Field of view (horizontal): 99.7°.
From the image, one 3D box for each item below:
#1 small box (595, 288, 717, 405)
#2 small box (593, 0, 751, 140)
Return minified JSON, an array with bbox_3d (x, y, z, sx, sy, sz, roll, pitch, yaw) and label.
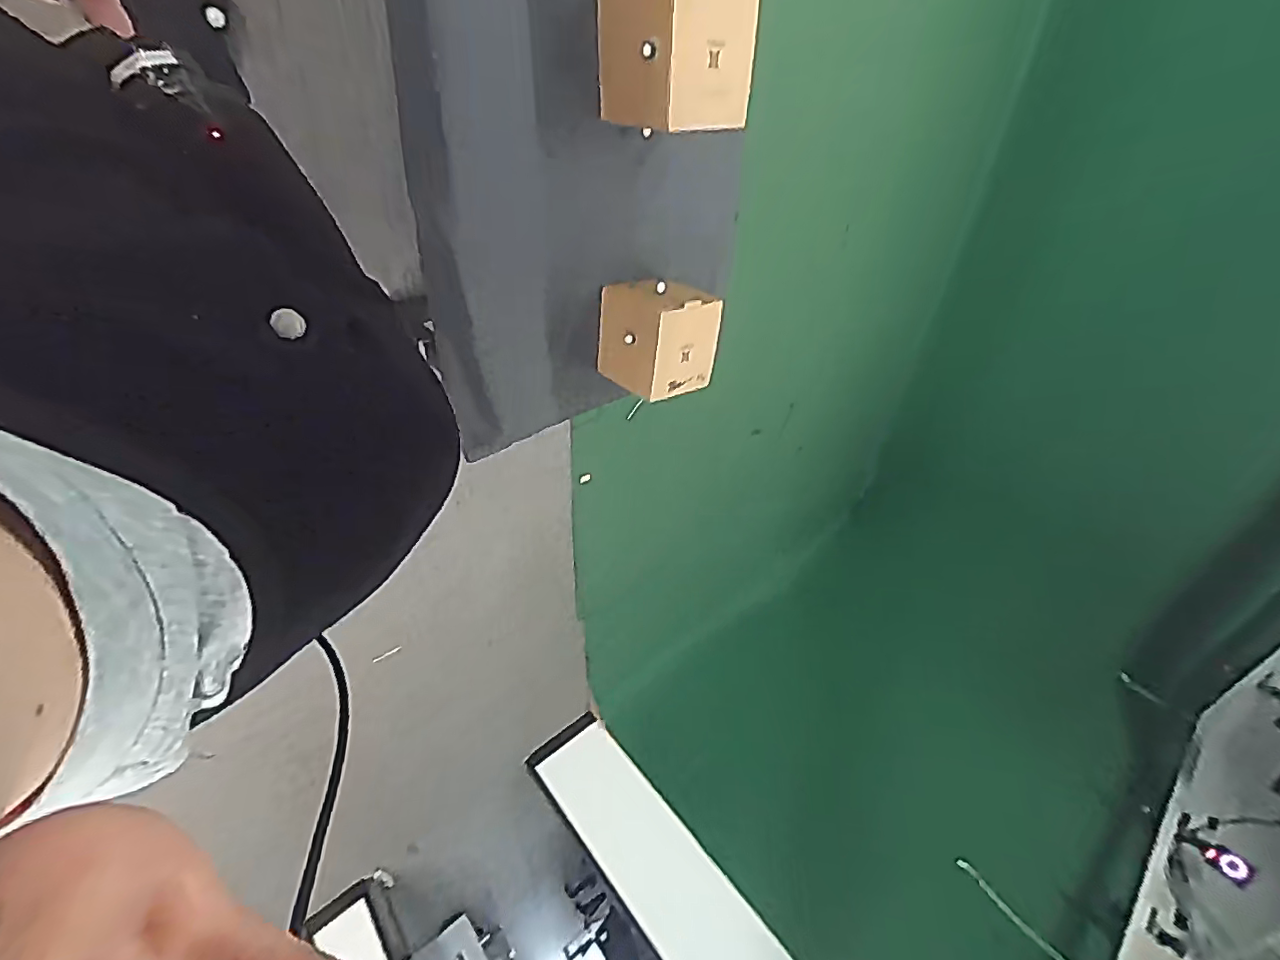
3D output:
[{"bbox_3d":[0.026,-0.272,1.067,0.168,0.176,0.179,-21,132,-36],"label":"small box"},{"bbox_3d":[0.041,-0.625,0.812,0.168,0.176,0.179,-27,137,-31],"label":"small box"}]
